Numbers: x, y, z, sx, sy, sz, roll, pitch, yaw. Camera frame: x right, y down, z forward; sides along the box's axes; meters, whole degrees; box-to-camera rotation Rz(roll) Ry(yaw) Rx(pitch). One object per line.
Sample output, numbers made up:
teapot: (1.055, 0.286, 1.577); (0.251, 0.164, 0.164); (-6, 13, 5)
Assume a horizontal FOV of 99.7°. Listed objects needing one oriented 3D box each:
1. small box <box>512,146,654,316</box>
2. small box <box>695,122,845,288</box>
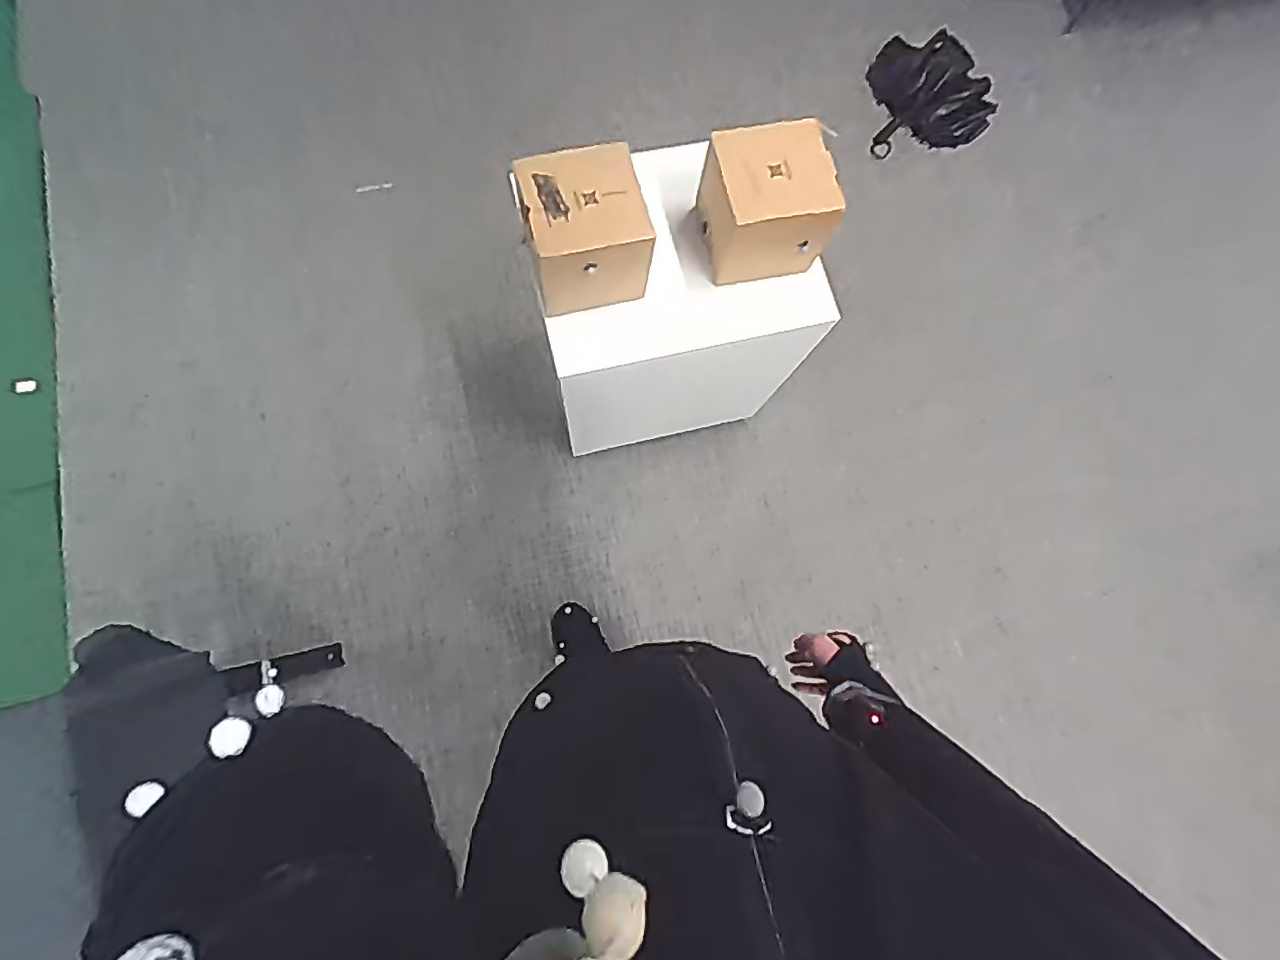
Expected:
small box: (-0.088, -0.380, 0.852); (0.179, 0.176, 0.168); (-14, 80, -9)
small box: (0.202, -0.441, 0.888); (0.179, 0.176, 0.168); (-11, 79, -5)
